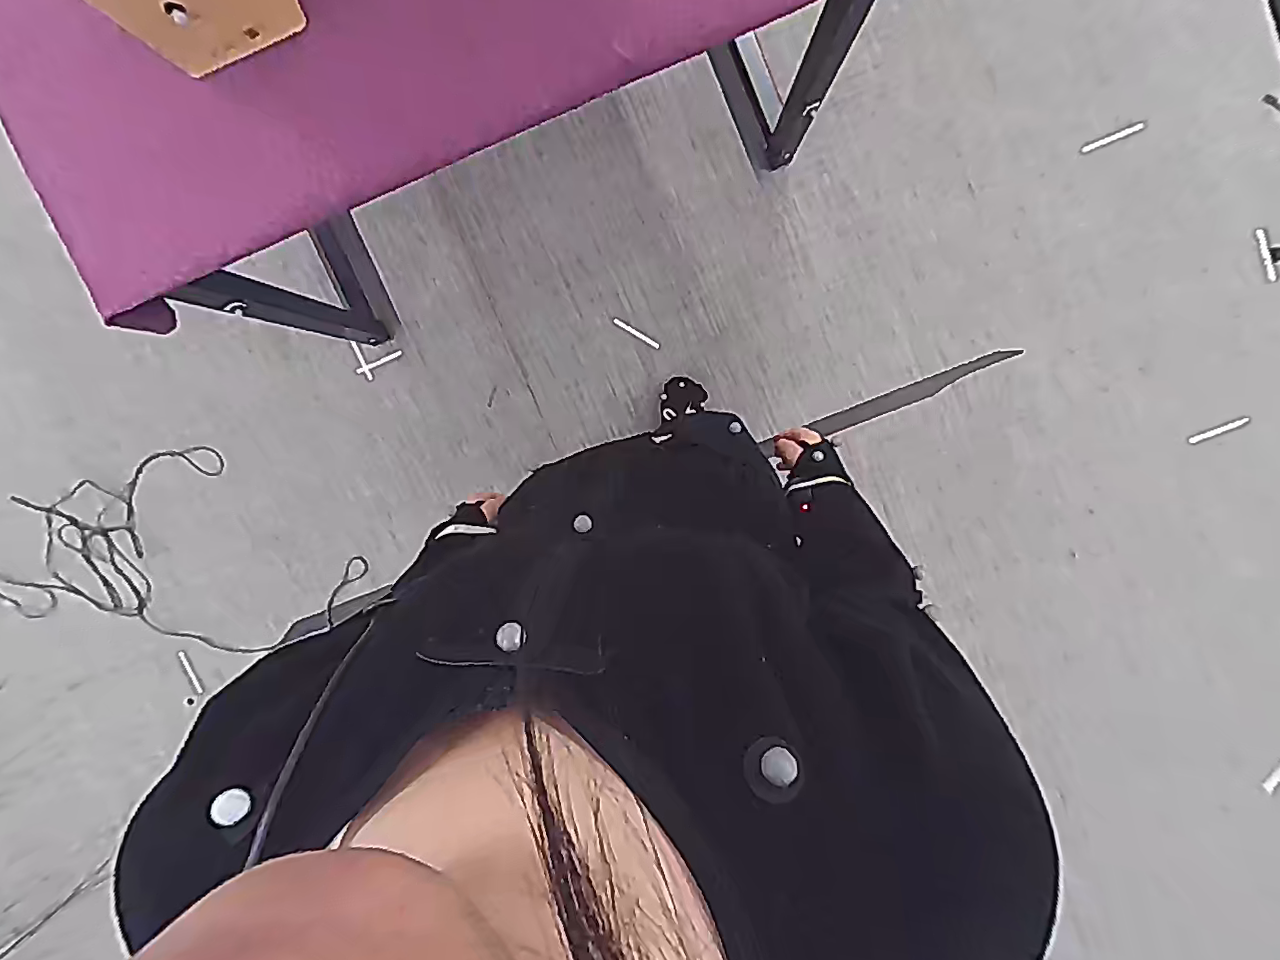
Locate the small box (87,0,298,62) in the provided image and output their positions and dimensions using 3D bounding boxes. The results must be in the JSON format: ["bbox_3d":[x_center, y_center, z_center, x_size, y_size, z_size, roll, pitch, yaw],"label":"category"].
[{"bbox_3d":[-0.530,-0.615,0.600,0.168,0.176,0.179,-21,96,4],"label":"small box"}]
